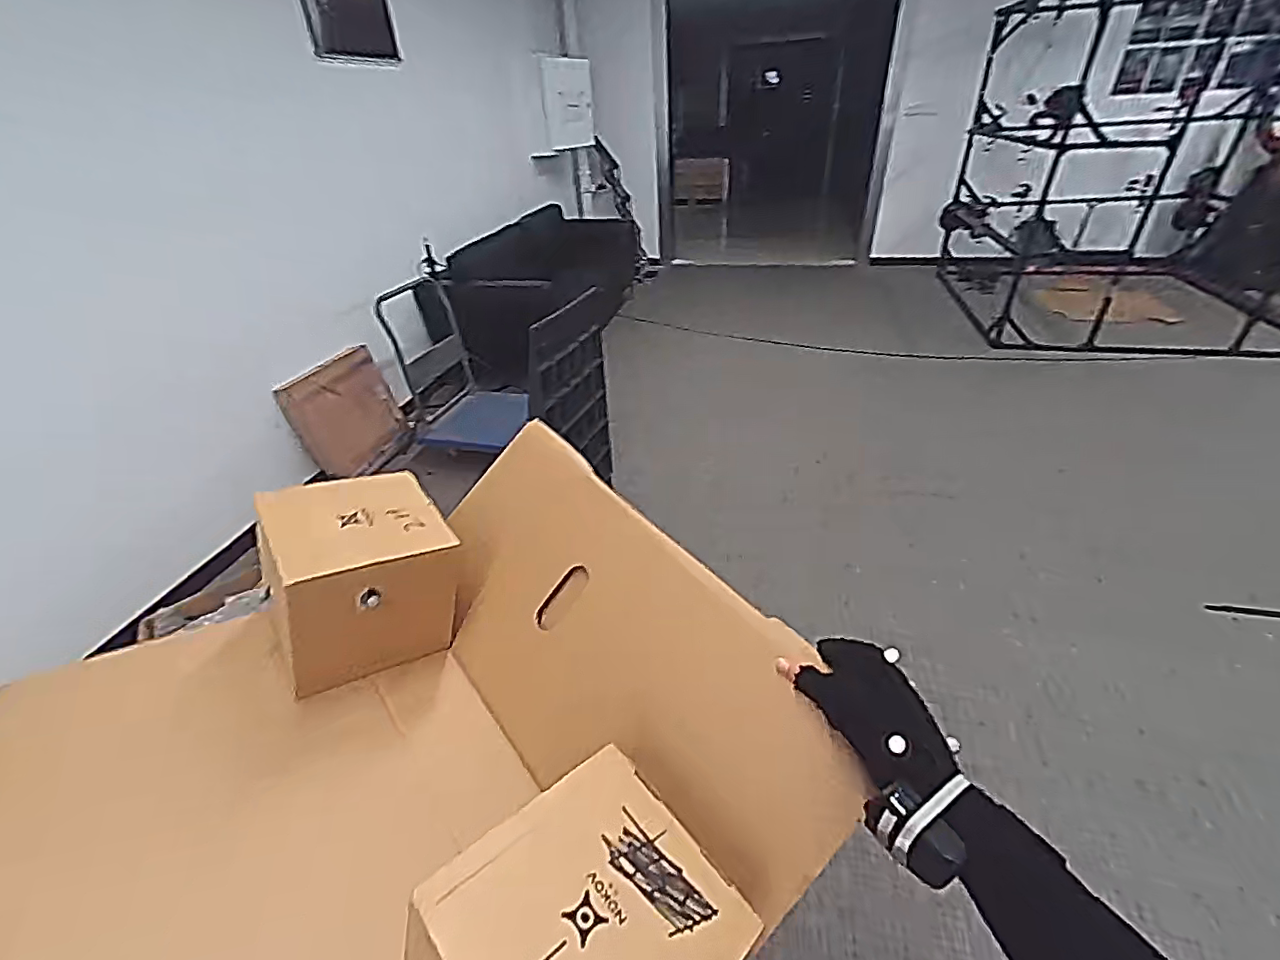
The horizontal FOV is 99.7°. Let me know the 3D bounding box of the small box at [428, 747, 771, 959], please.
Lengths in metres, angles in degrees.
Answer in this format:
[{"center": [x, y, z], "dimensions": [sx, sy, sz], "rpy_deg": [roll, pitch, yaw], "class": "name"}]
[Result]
[{"center": [-0.041, 0.350, 0.398], "dimensions": [0.179, 0.176, 0.168], "rpy_deg": [-16, 44, -42], "class": "small box"}]
